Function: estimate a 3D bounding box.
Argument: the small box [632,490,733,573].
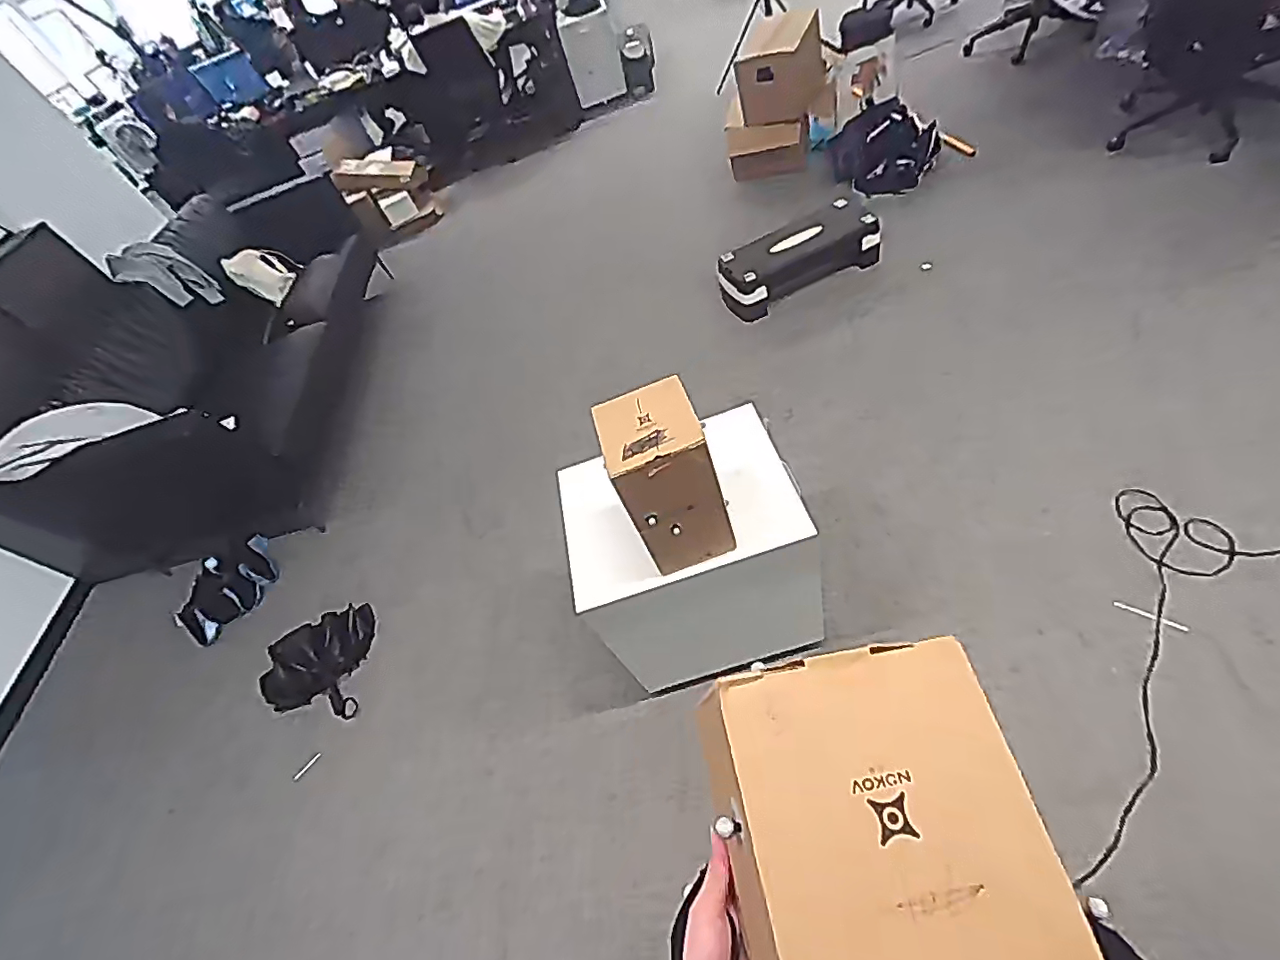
[{"bbox_3d":[0.071,0.054,1.082,0.168,0.176,0.179,-23,48,3],"label":"small box"}]

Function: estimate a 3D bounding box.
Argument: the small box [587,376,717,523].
[{"bbox_3d":[0.024,-0.045,0.959,0.168,0.176,0.179,-22,48,3],"label":"small box"}]

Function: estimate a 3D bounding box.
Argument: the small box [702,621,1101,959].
[{"bbox_3d":[0.147,0.219,0.385,0.168,0.176,0.179,-10,62,-5],"label":"small box"}]
